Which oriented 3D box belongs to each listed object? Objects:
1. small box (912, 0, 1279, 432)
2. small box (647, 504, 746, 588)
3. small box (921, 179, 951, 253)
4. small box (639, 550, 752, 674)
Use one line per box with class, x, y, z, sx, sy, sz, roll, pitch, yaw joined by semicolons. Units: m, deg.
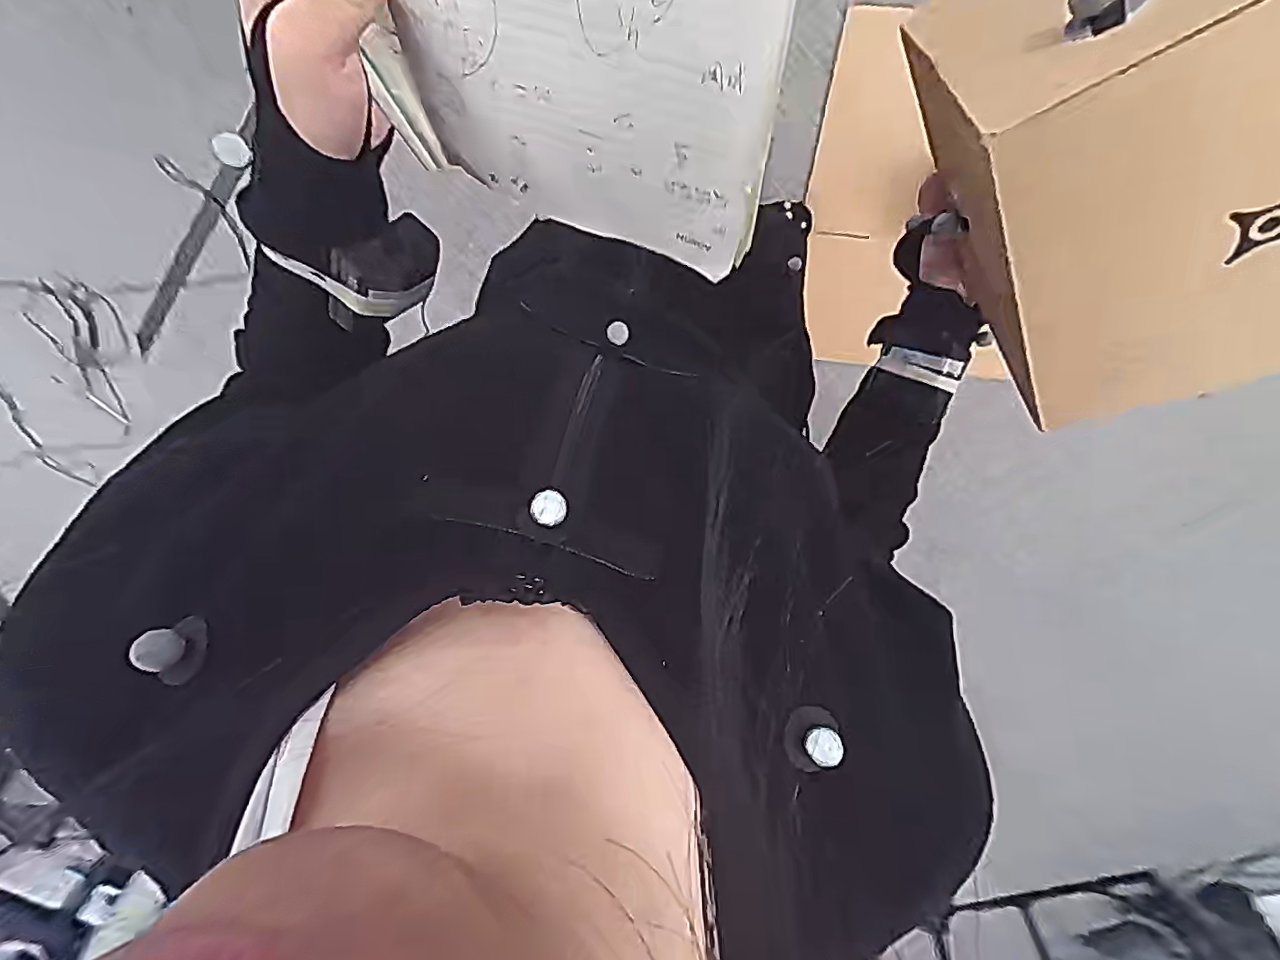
small box;0.240;-0.157;0.243;0.179;0.176;0.168;-20;134;30
small box;0.138;0.181;1.300;0.168;0.176;0.179;-30;114;24
small box;0.702;-0.562;1.096;0.179;0.176;0.168;3;123;8
small box;0.122;0.275;1.167;0.168;0.176;0.179;-33;111;26
